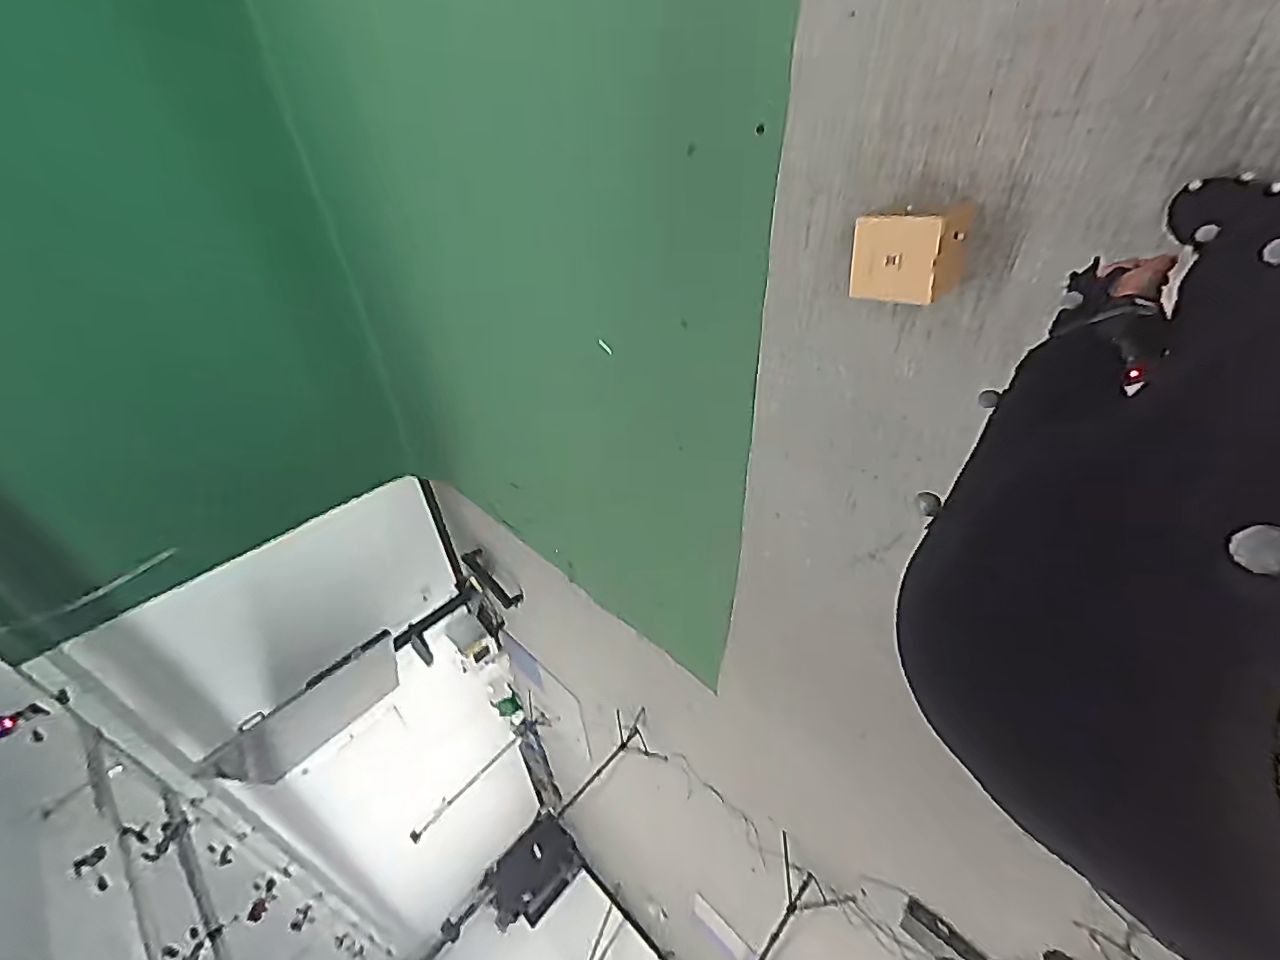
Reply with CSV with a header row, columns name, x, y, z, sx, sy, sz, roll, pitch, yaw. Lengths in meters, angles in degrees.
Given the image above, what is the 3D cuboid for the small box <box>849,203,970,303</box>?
name,x,y,z,sx,sy,sz,roll,pitch,yaw
small box,0.575,-0.489,1.156,0.179,0.176,0.168,23,133,40
